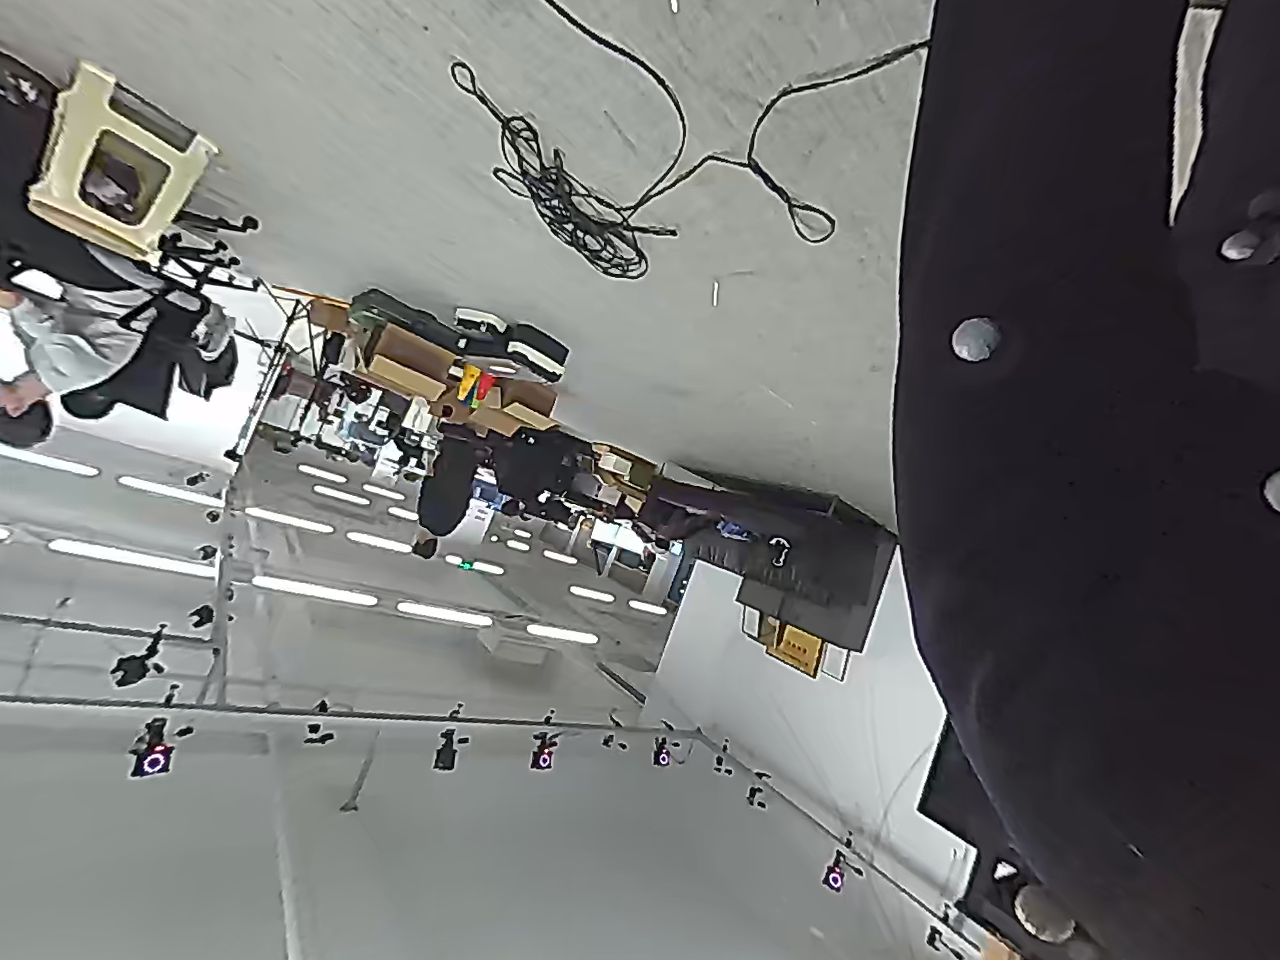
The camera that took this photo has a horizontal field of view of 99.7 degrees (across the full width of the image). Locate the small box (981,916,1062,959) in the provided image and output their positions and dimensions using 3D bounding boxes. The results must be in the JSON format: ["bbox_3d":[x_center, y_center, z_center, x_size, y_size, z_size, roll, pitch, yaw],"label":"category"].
[{"bbox_3d":[1.116,1.436,1.588,0.168,0.176,0.179,15,173,45],"label":"small box"}]
